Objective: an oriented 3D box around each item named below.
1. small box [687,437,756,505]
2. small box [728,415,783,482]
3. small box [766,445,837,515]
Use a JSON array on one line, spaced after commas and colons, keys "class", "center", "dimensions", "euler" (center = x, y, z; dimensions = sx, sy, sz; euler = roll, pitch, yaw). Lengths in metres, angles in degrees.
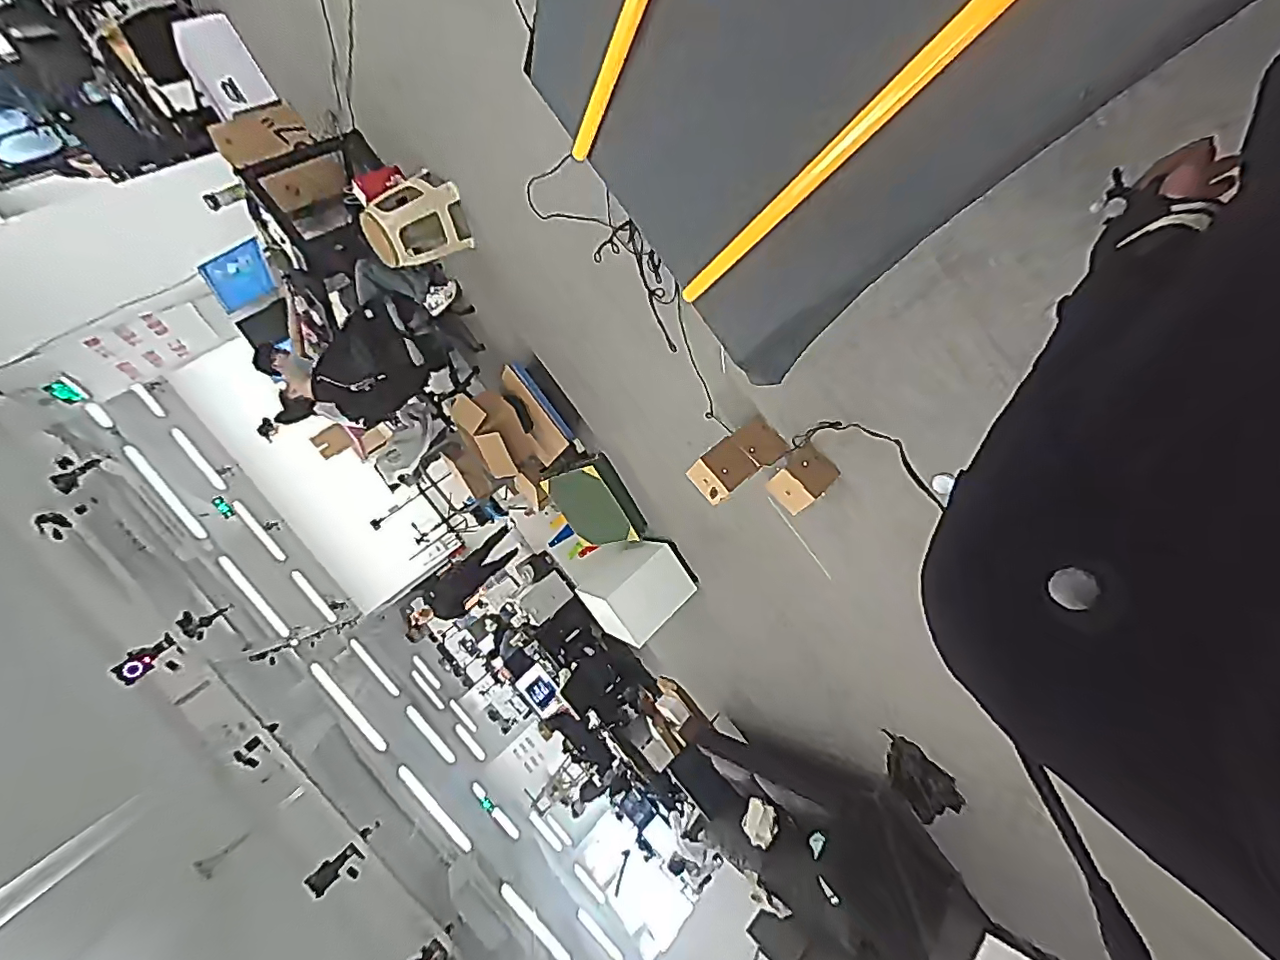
[{"class": "small box", "center": [0.321, -0.038, 2.114], "dimensions": [0.179, 0.176, 0.168], "euler": [49, 155, 7]}, {"class": "small box", "center": [0.446, -0.126, 2.176], "dimensions": [0.168, 0.176, 0.179], "euler": [47, 156, 12]}, {"class": "small box", "center": [0.620, -0.002, 2.059], "dimensions": [0.168, 0.176, 0.179], "euler": [47, 156, 10]}]
